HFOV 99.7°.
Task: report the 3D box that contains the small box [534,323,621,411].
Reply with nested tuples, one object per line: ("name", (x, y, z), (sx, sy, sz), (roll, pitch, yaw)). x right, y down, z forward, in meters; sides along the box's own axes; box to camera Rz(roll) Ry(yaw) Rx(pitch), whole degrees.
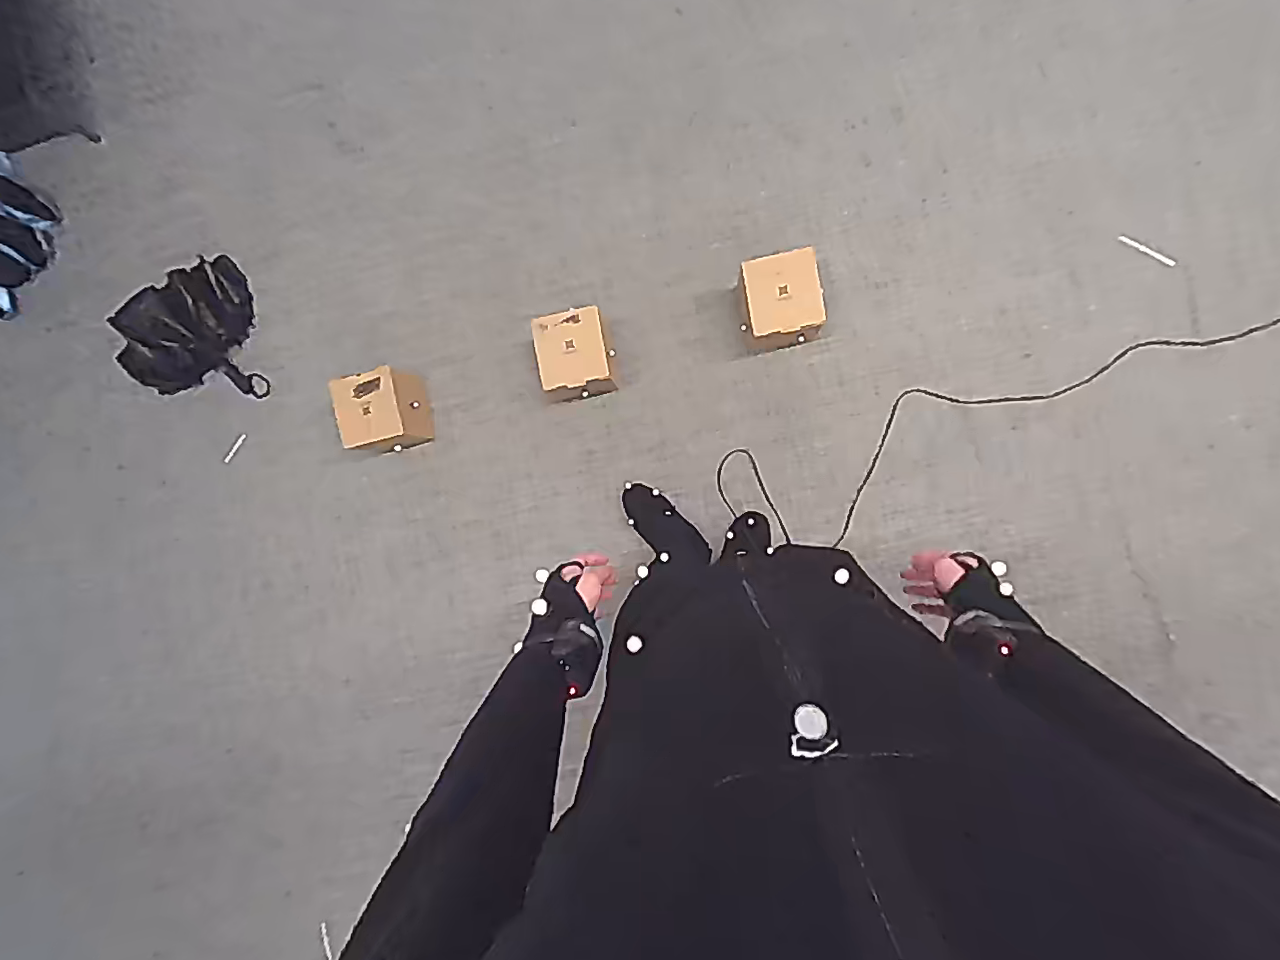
("small box", (-0.151, -0.278, 1.375), (0.168, 0.176, 0.179), (-11, 89, 7))

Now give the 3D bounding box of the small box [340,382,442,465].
("small box", (-0.653, -0.143, 1.434), (0.168, 0.176, 0.179), (-14, 89, 7))

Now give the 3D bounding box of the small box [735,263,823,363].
("small box", (0.332, -0.395, 1.316), (0.168, 0.176, 0.179), (-12, 87, 6))
